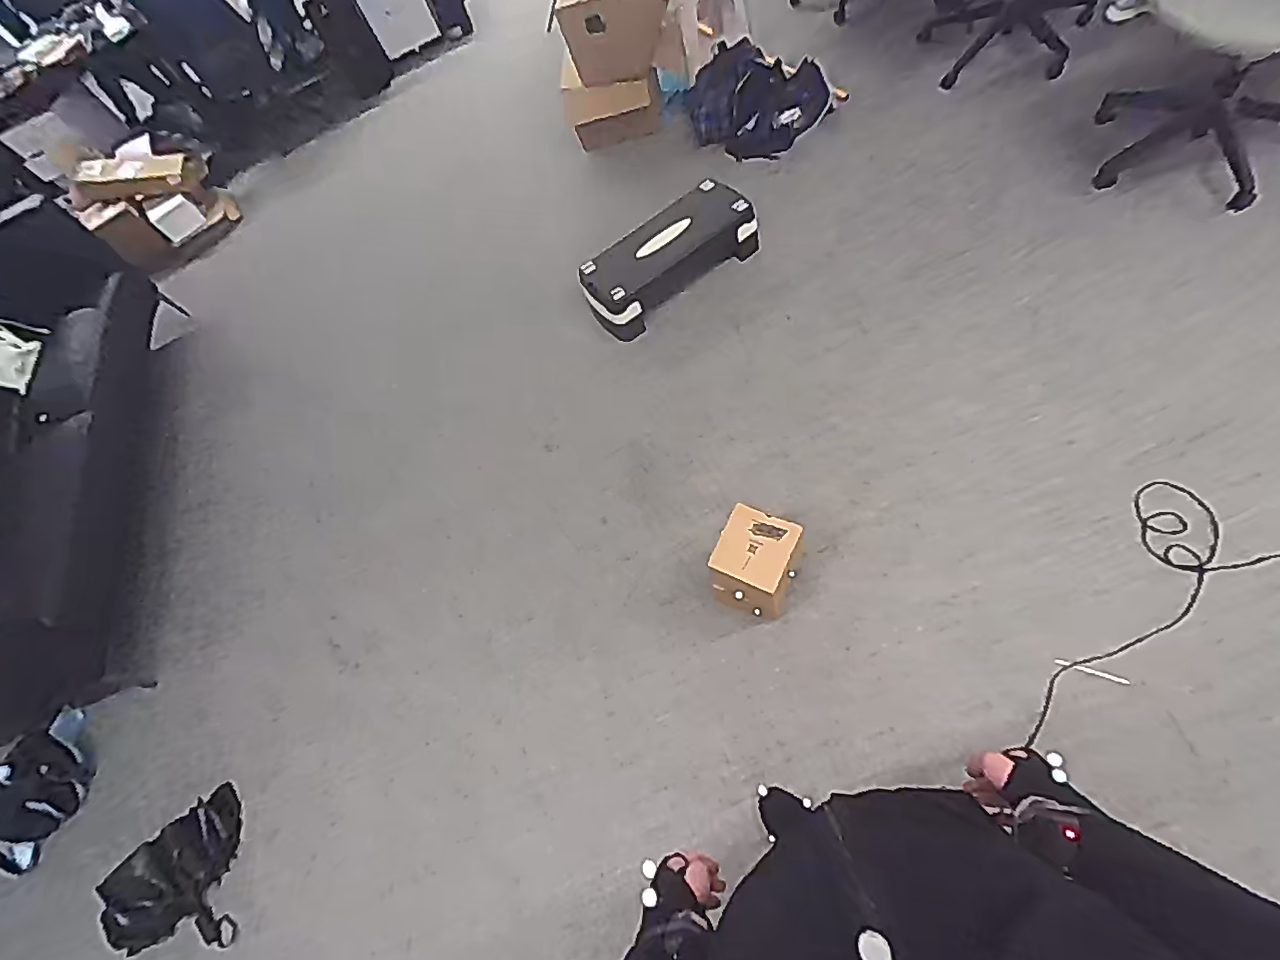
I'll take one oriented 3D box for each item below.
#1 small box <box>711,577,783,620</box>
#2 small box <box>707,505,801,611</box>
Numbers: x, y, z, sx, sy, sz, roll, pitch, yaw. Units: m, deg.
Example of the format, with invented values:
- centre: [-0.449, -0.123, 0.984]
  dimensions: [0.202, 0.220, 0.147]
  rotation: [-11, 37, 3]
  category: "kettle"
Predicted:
- centre: [0.305, 0.261, 1.466]
  dimensions: [0.168, 0.176, 0.179]
  rotation: [14, 67, 21]
  category: "small box"
- centre: [0.280, 0.193, 1.318]
  dimensions: [0.168, 0.176, 0.179]
  rotation: [21, 72, 25]
  category: "small box"
